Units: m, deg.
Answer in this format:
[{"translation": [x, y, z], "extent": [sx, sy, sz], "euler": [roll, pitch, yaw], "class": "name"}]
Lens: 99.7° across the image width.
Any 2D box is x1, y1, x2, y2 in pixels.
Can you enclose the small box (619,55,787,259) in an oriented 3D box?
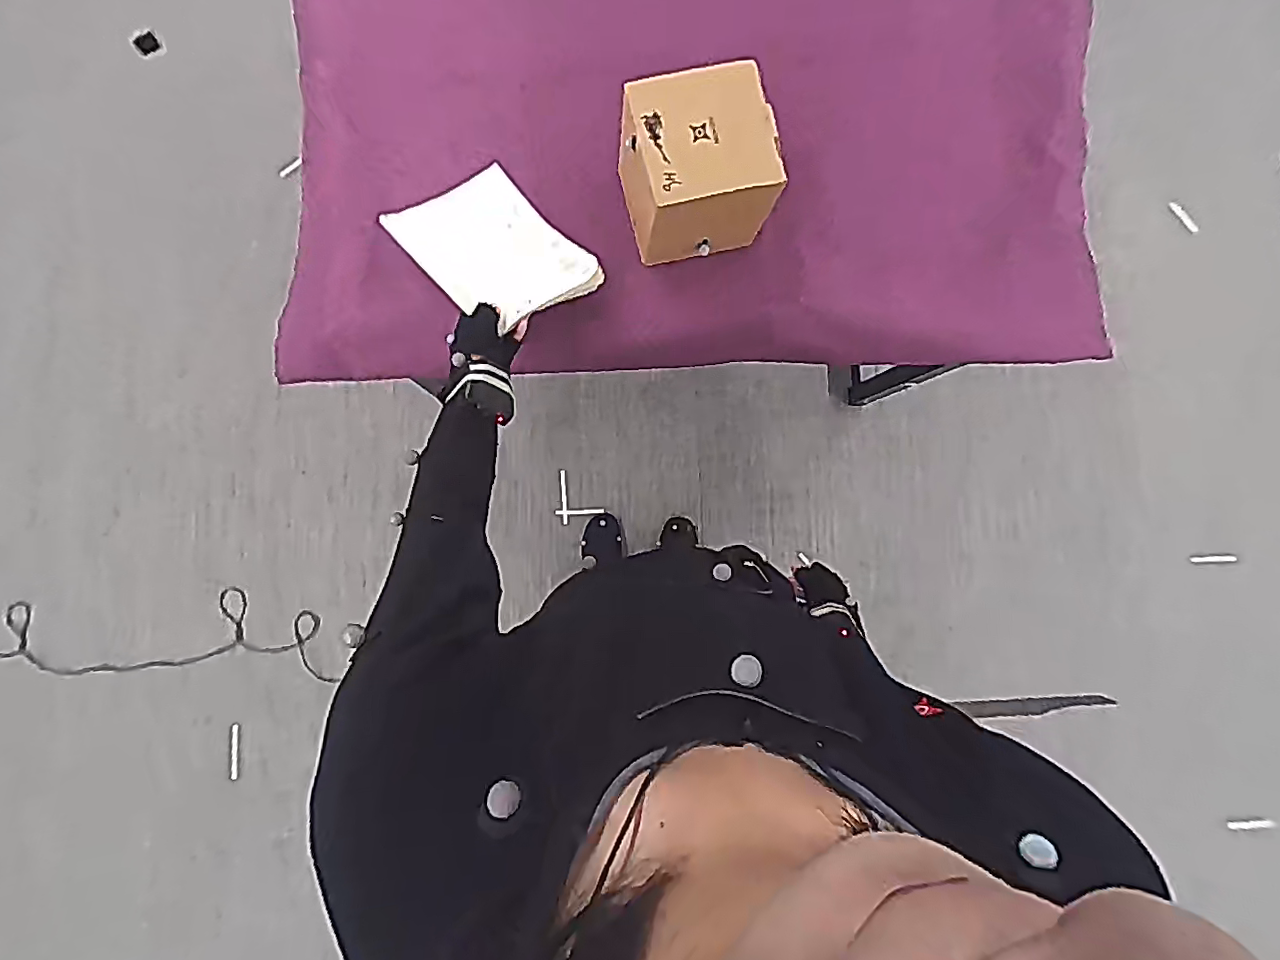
[{"translation": [0.076, -0.434, 0.750], "extent": [0.179, 0.176, 0.168], "euler": [-14, 87, -6], "class": "small box"}]
